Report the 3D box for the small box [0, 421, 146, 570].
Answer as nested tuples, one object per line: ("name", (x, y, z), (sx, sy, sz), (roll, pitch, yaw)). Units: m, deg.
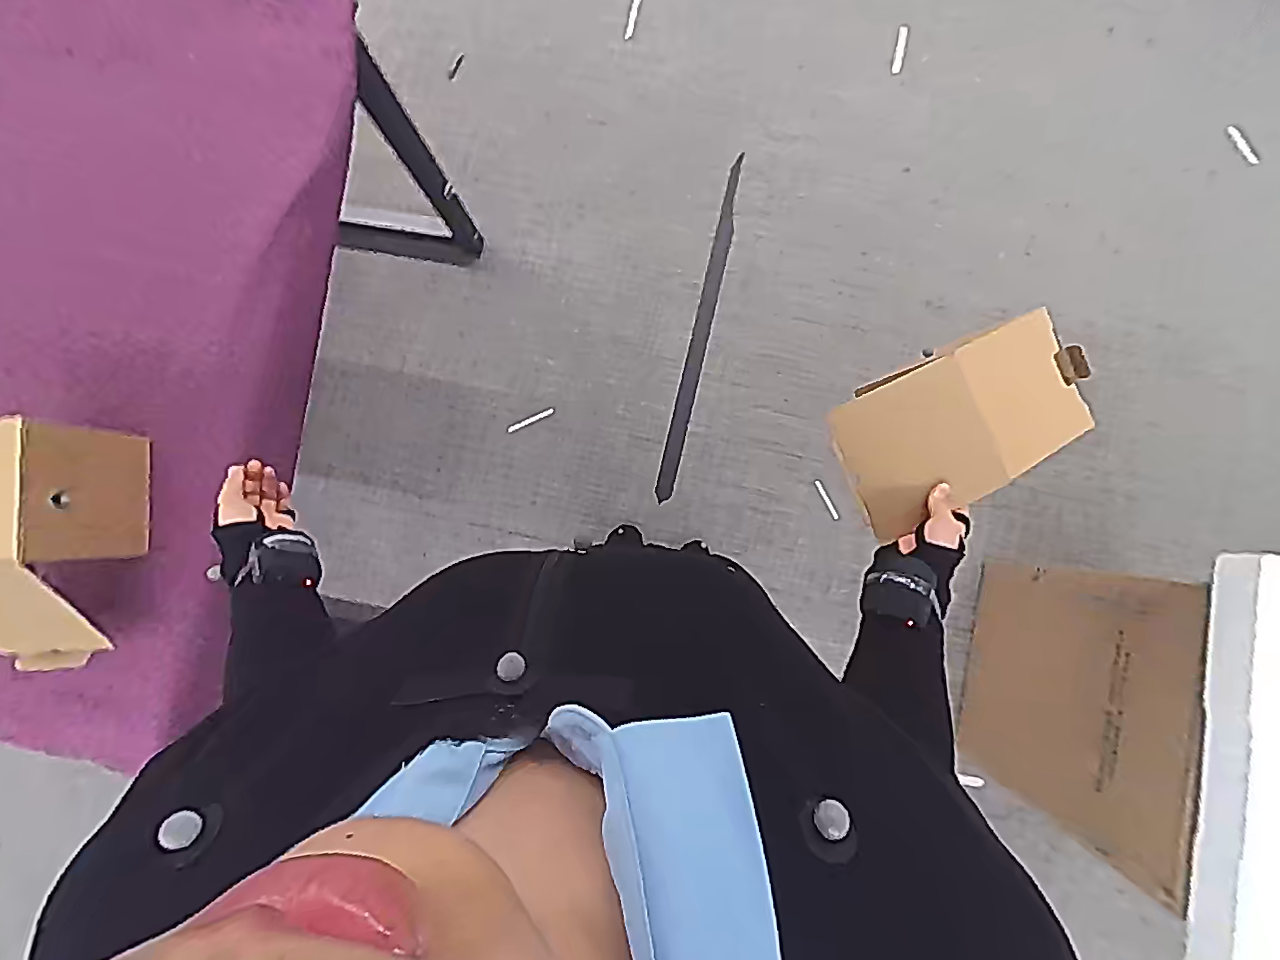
("small box", (-0.807, 0.026, 0.715), (0.168, 0.176, 0.179), (-3, 85, 1))
